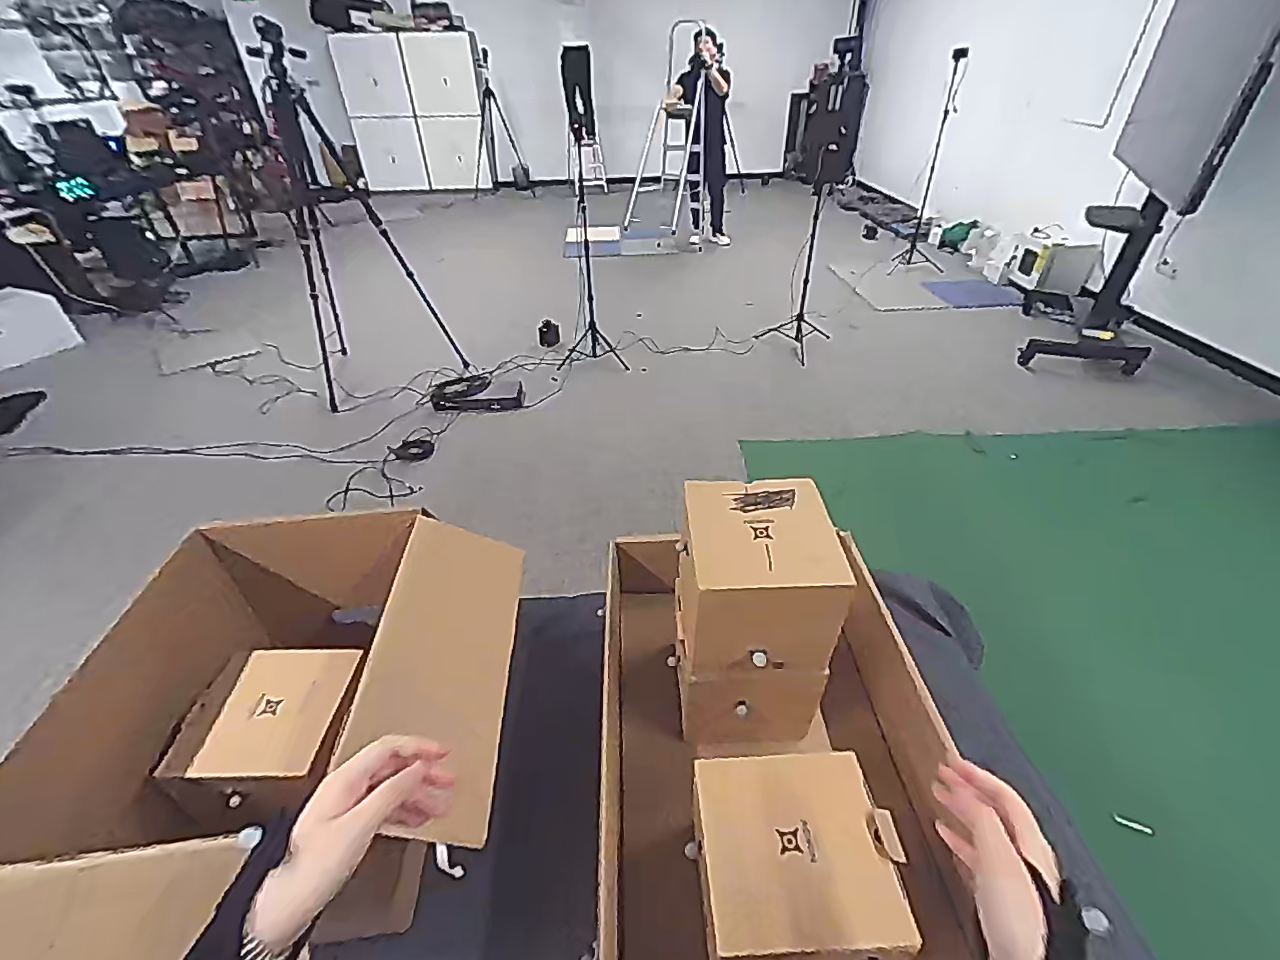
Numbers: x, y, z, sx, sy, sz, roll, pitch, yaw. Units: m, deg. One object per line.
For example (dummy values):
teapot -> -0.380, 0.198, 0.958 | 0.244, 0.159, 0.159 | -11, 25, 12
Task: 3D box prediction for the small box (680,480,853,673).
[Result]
small box -> 0.139, 0.118, 0.675 | 0.168, 0.176, 0.179 | -1, 40, -1
